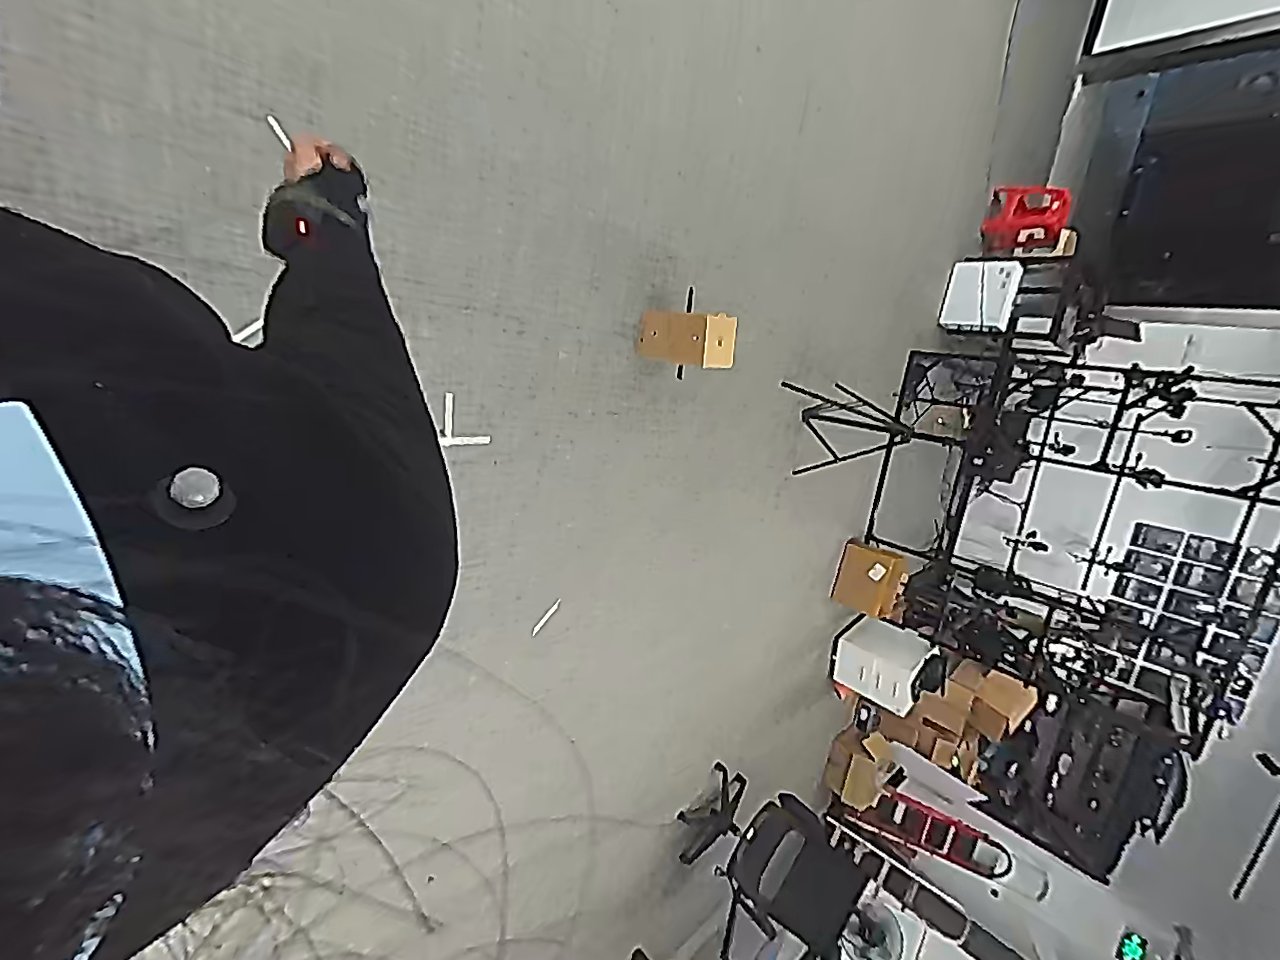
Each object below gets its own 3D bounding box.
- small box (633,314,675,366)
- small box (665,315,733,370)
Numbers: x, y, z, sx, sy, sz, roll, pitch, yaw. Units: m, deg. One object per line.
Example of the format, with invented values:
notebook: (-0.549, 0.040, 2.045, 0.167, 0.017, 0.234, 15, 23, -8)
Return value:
small box: (0.098, -0.523, 2.030, 0.179, 0.176, 0.168, 0, 105, -46)
small box: (0.205, -0.487, 1.912, 0.168, 0.176, 0.179, -11, 111, -43)
